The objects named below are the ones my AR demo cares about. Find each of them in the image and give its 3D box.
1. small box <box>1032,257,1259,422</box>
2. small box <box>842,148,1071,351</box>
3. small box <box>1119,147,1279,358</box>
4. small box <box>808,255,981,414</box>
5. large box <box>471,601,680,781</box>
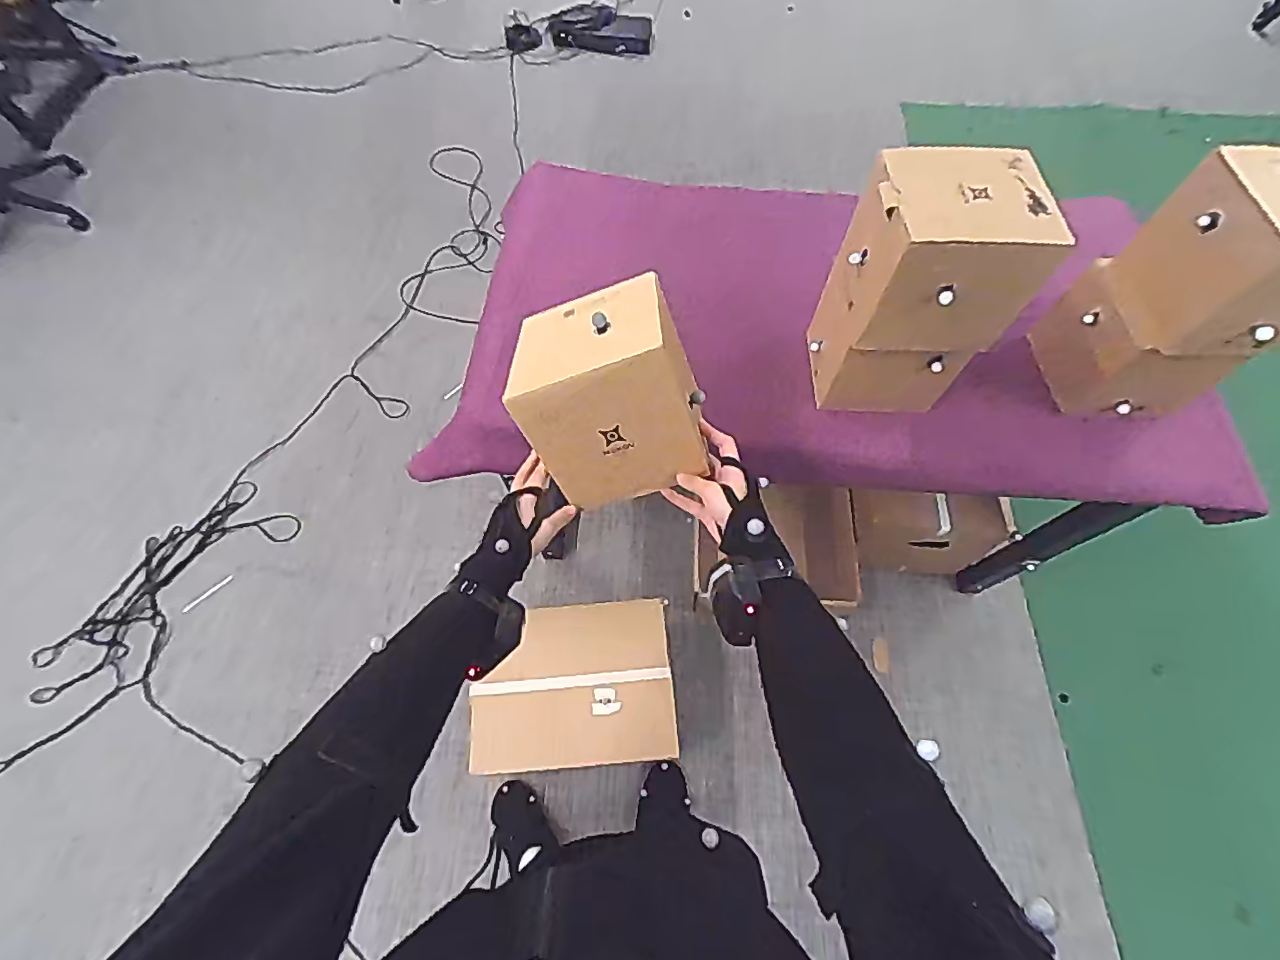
[{"bbox_3d":[0.735,-0.206,0.807,0.168,0.176,0.179,0,62,2],"label":"small box"},{"bbox_3d":[0.360,-0.274,0.663,0.179,0.176,0.168,1,62,2],"label":"small box"},{"bbox_3d":[0.747,-0.271,0.656,0.168,0.176,0.179,0,62,3],"label":"small box"},{"bbox_3d":[0.368,-0.213,0.816,0.179,0.176,0.168,2,62,2],"label":"small box"},{"bbox_3d":[-0.135,0.480,1.215,0.408,0.320,0.320,-4,63,-2],"label":"large box"}]
